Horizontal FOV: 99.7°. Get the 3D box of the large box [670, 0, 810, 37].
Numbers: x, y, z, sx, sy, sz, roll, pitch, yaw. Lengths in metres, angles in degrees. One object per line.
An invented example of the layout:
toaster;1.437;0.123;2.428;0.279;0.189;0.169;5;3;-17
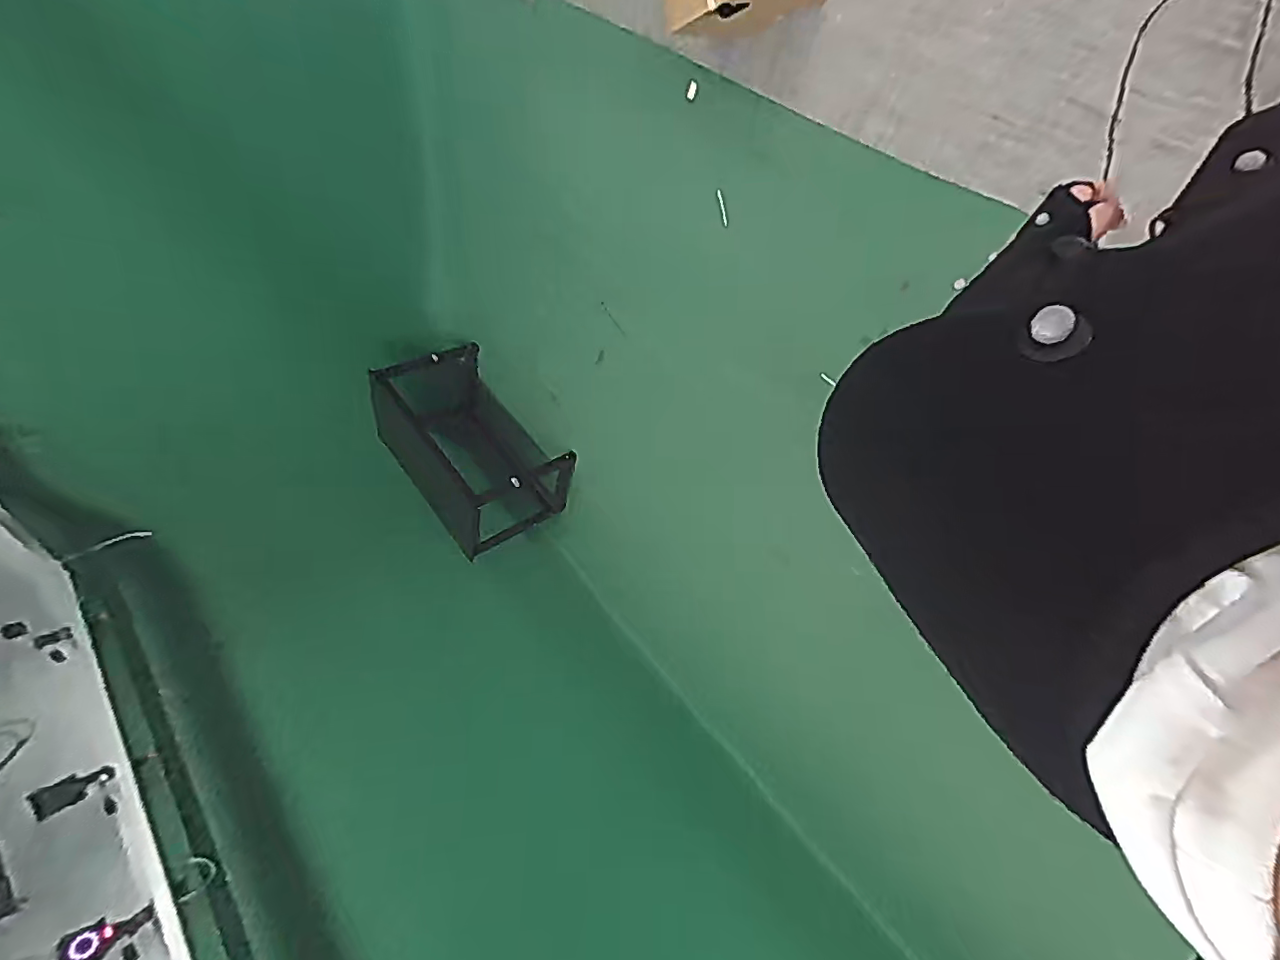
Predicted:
large box;0.259;-1.414;1.346;0.320;0.320;0.408;15;126;48
